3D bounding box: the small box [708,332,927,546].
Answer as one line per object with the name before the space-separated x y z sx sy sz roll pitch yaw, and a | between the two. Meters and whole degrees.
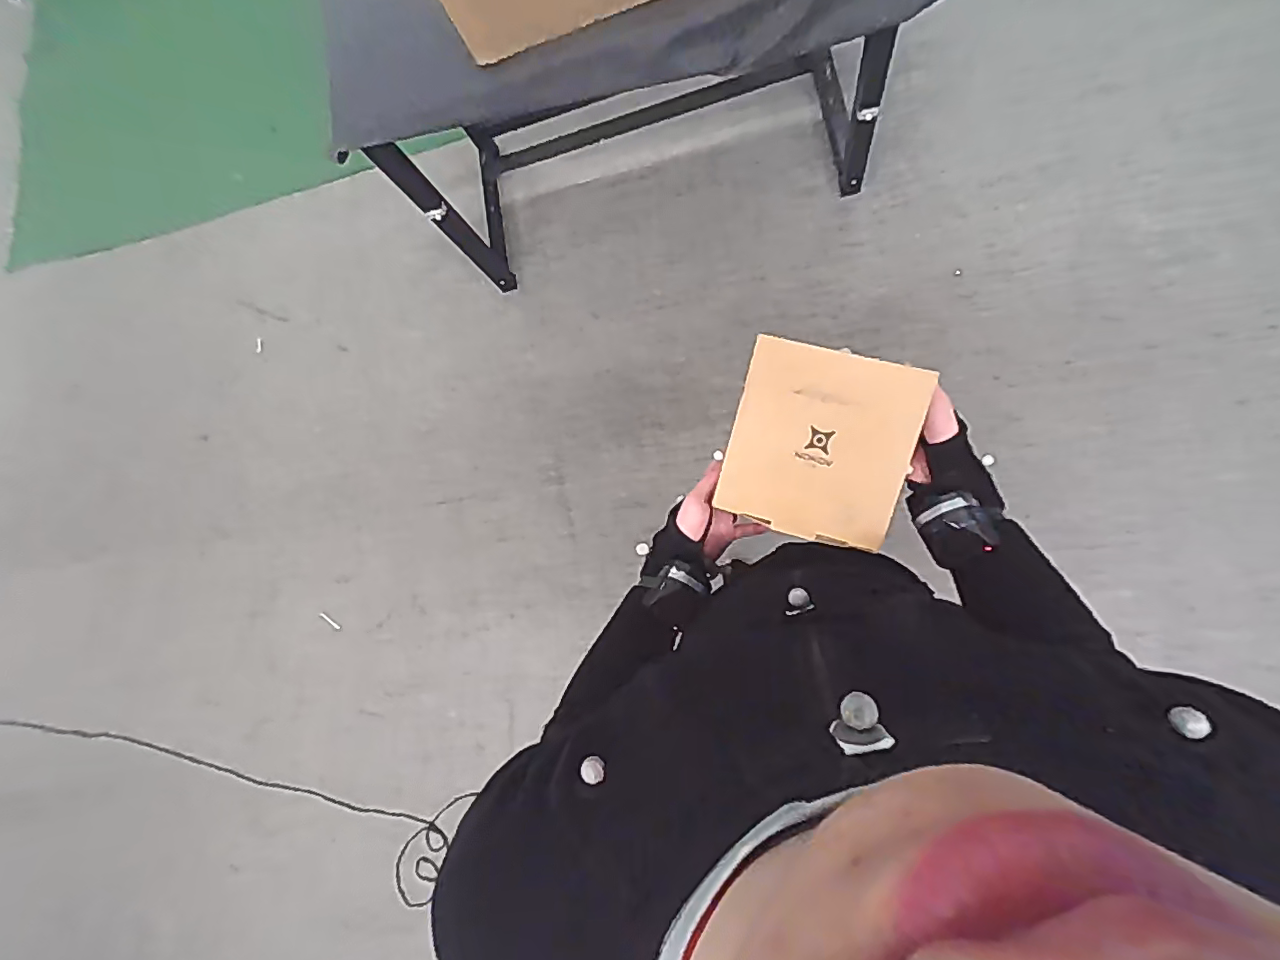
small box | 0.181 -0.050 0.593 0.168 0.176 0.179 15 100 9
